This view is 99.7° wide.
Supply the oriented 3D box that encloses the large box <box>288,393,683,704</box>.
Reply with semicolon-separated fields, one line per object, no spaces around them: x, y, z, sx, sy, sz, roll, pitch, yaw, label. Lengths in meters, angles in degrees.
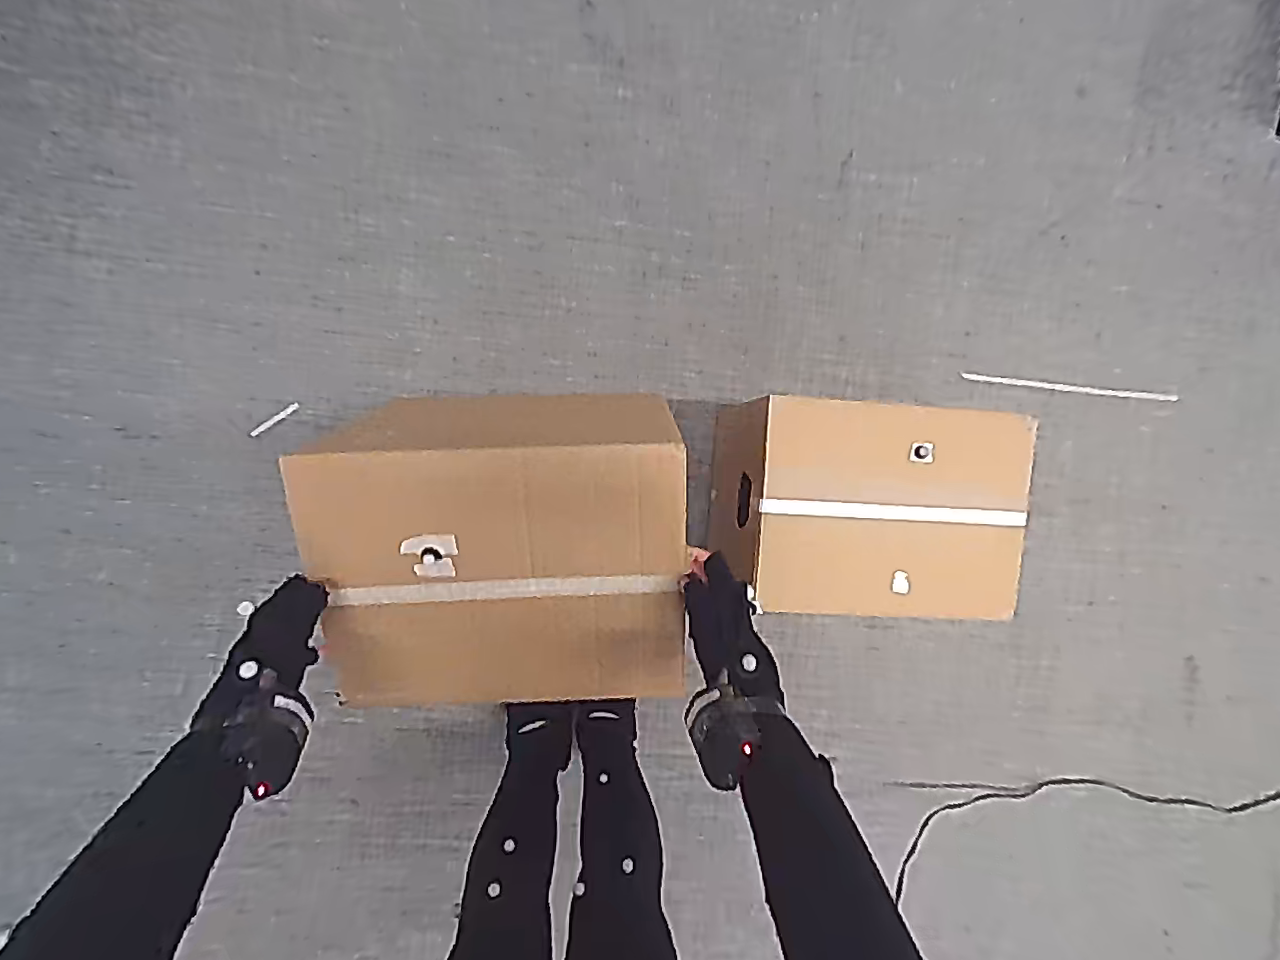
-0.154;0.066;0.731;0.408;0.320;0.320;-2;107;0;large box
